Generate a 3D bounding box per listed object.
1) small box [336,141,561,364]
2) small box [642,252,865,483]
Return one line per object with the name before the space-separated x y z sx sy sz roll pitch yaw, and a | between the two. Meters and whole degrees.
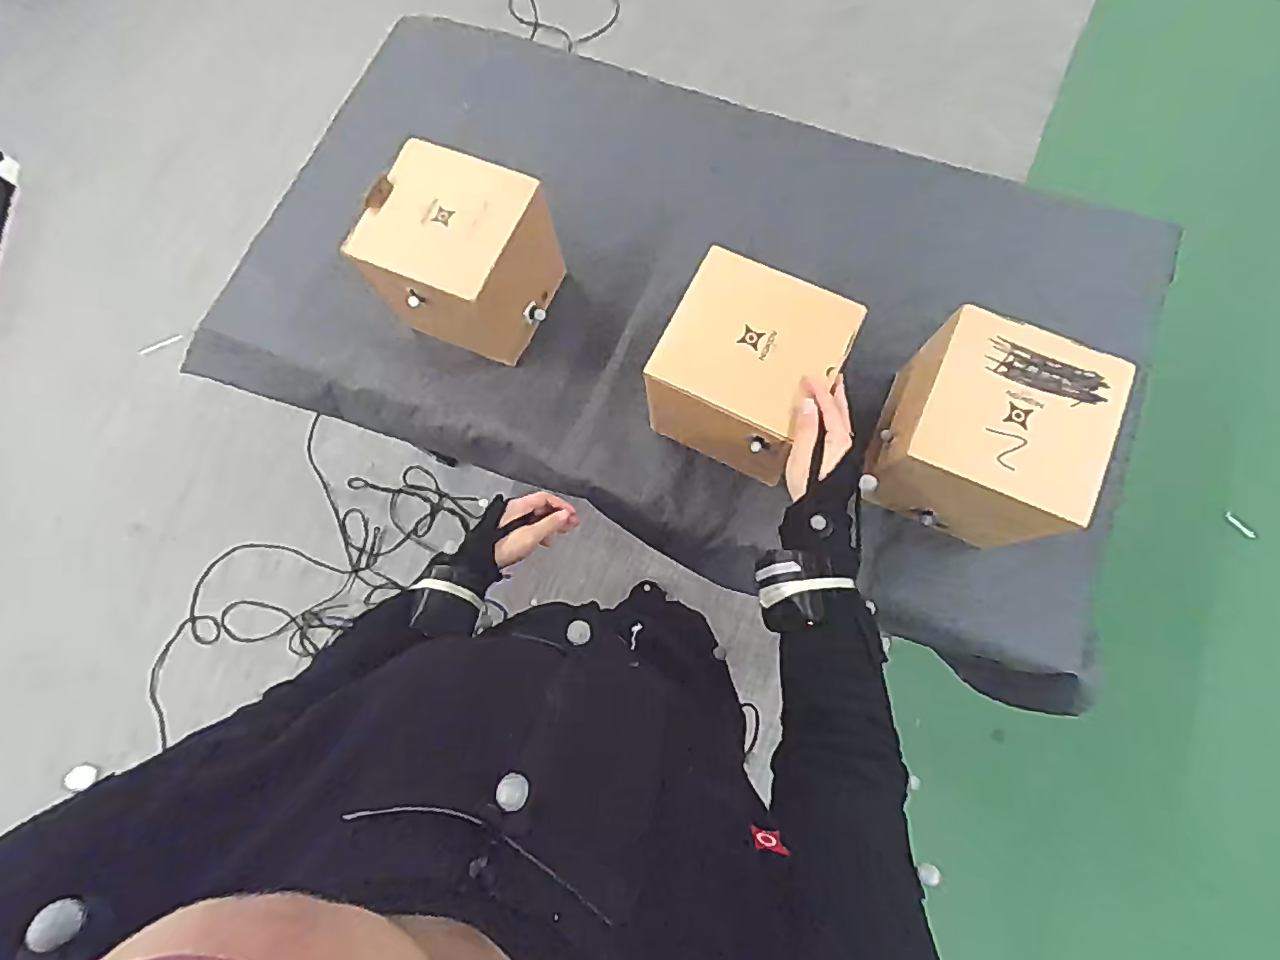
small box | -0.220 -0.268 0.672 0.179 0.176 0.168 22 79 7
small box | 0.116 -0.114 0.616 0.179 0.176 0.168 26 78 8
